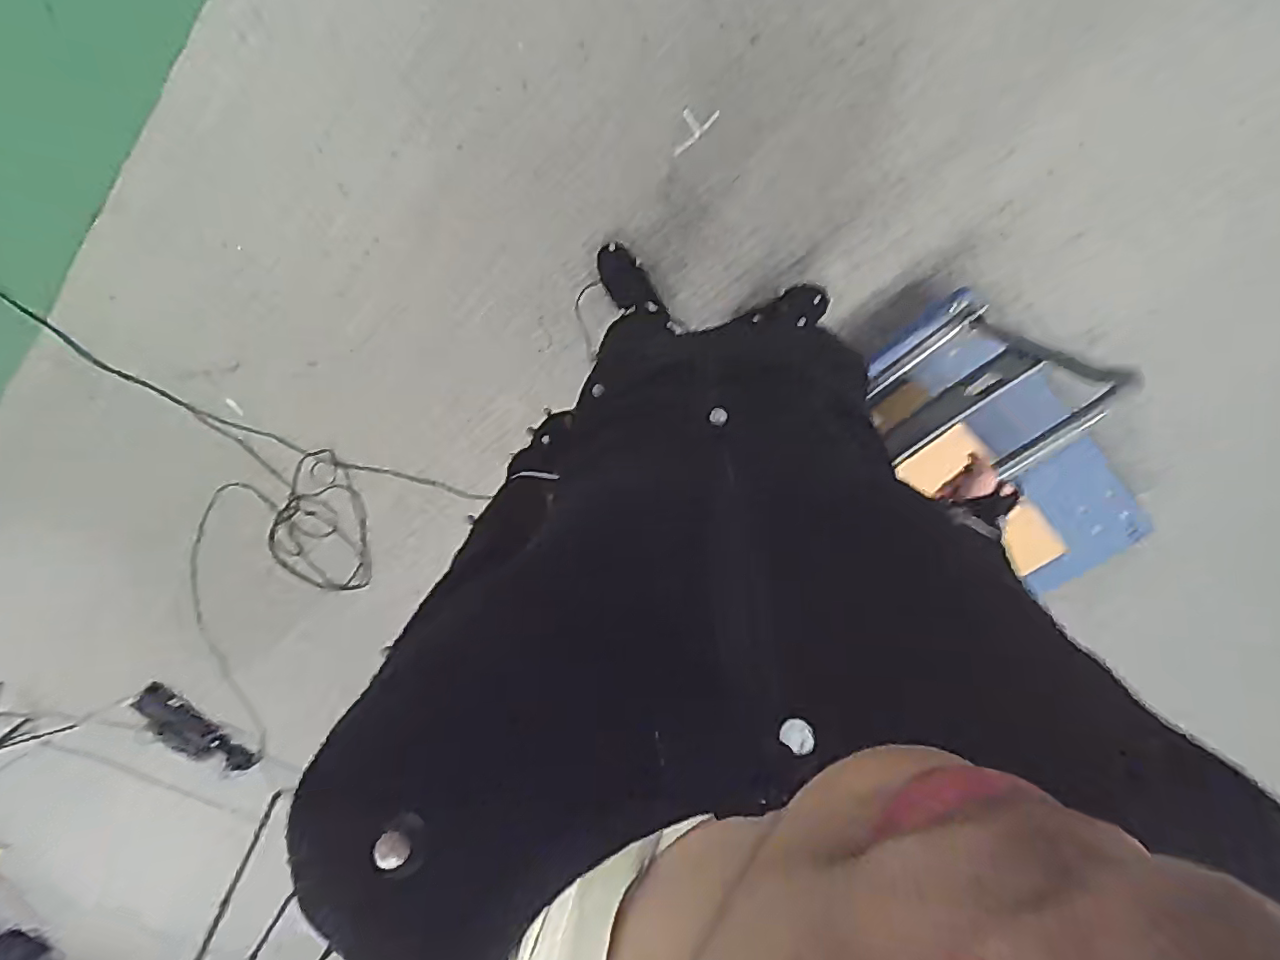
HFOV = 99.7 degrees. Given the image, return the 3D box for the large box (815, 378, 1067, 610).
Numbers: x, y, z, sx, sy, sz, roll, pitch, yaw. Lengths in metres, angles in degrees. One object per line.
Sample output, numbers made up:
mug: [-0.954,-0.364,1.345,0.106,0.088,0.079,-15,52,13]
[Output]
large box: [0.693,0.026,1.312,0.408,0.320,0.320,42,116,-13]
